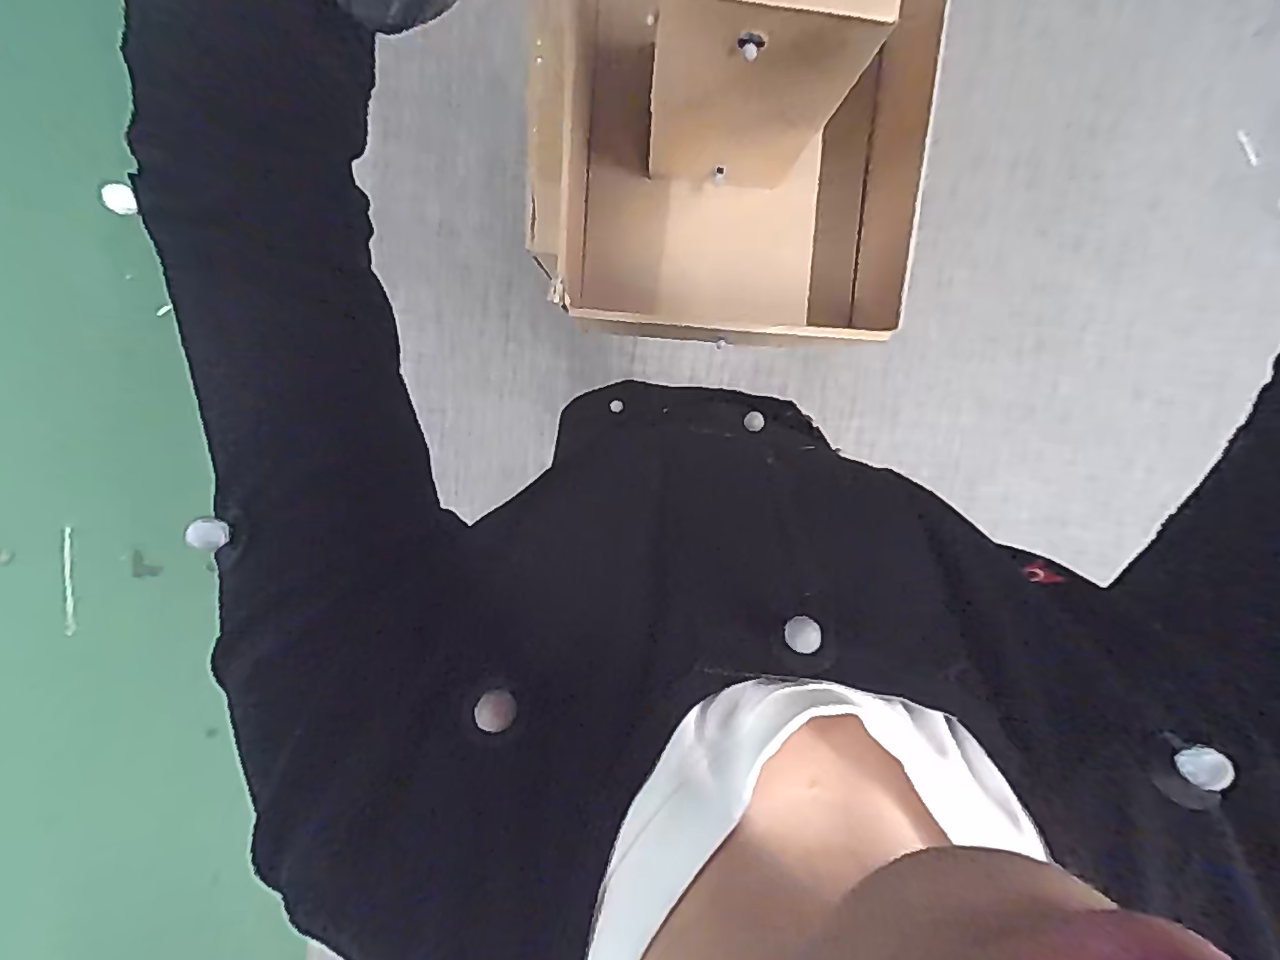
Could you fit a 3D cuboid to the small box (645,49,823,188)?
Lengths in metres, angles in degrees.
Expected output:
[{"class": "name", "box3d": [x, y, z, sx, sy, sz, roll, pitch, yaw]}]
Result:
[{"class": "small box", "box3d": [0.103, -0.459, 0.622, 0.179, 0.176, 0.168, 4, 97, -3]}]

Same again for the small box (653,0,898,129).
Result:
[{"class": "small box", "box3d": [0.108, -0.432, 0.460, 0.179, 0.176, 0.168, 7, 97, -3]}]
